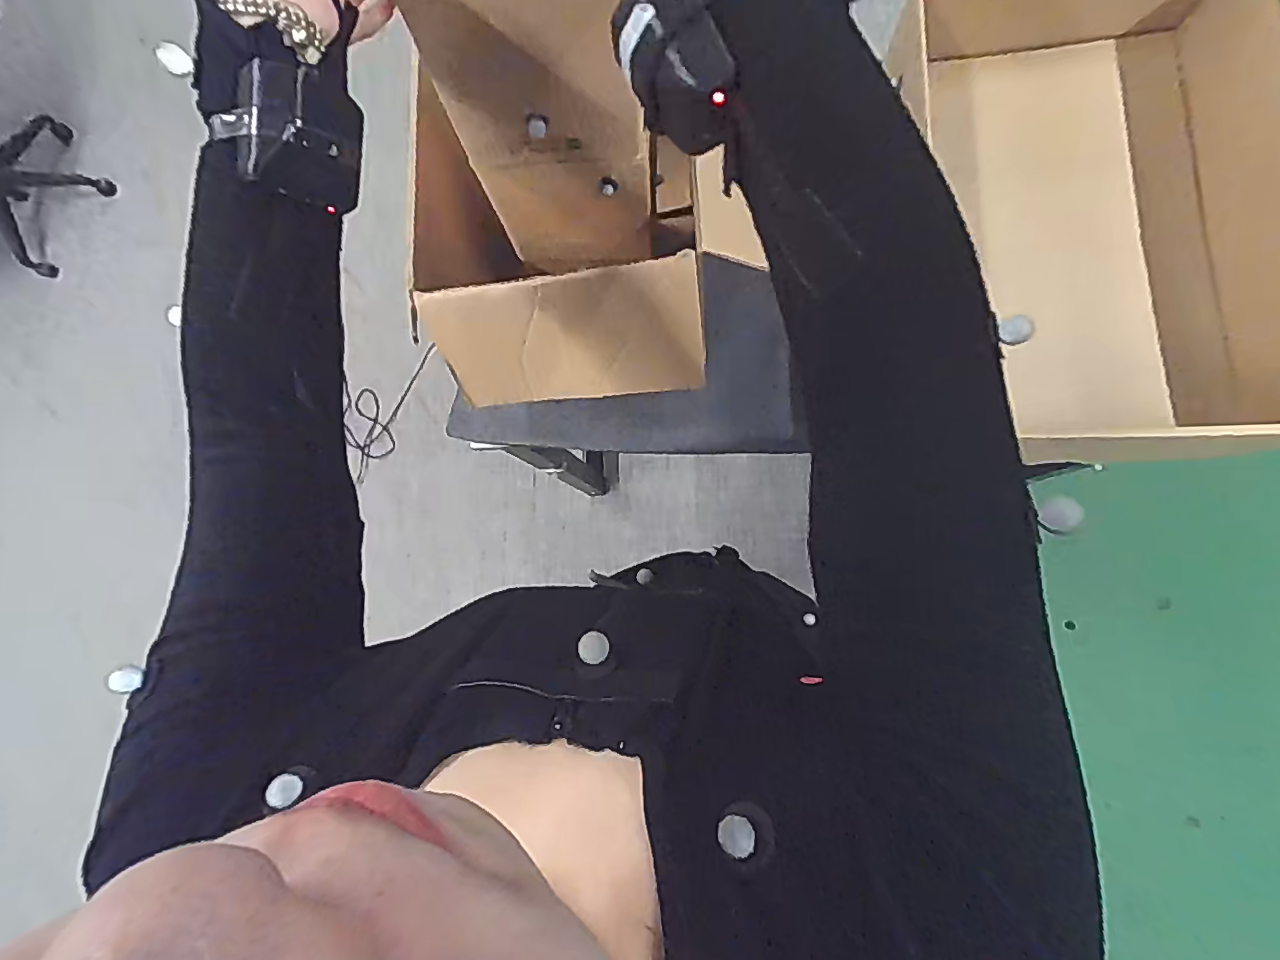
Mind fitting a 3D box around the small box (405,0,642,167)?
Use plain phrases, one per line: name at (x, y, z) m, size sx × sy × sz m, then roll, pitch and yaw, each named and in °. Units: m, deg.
small box at (-0.086, -0.405, 0.460) m, size 0.168 × 0.176 × 0.179 m, roll -2°, pitch 80°, yaw 3°
